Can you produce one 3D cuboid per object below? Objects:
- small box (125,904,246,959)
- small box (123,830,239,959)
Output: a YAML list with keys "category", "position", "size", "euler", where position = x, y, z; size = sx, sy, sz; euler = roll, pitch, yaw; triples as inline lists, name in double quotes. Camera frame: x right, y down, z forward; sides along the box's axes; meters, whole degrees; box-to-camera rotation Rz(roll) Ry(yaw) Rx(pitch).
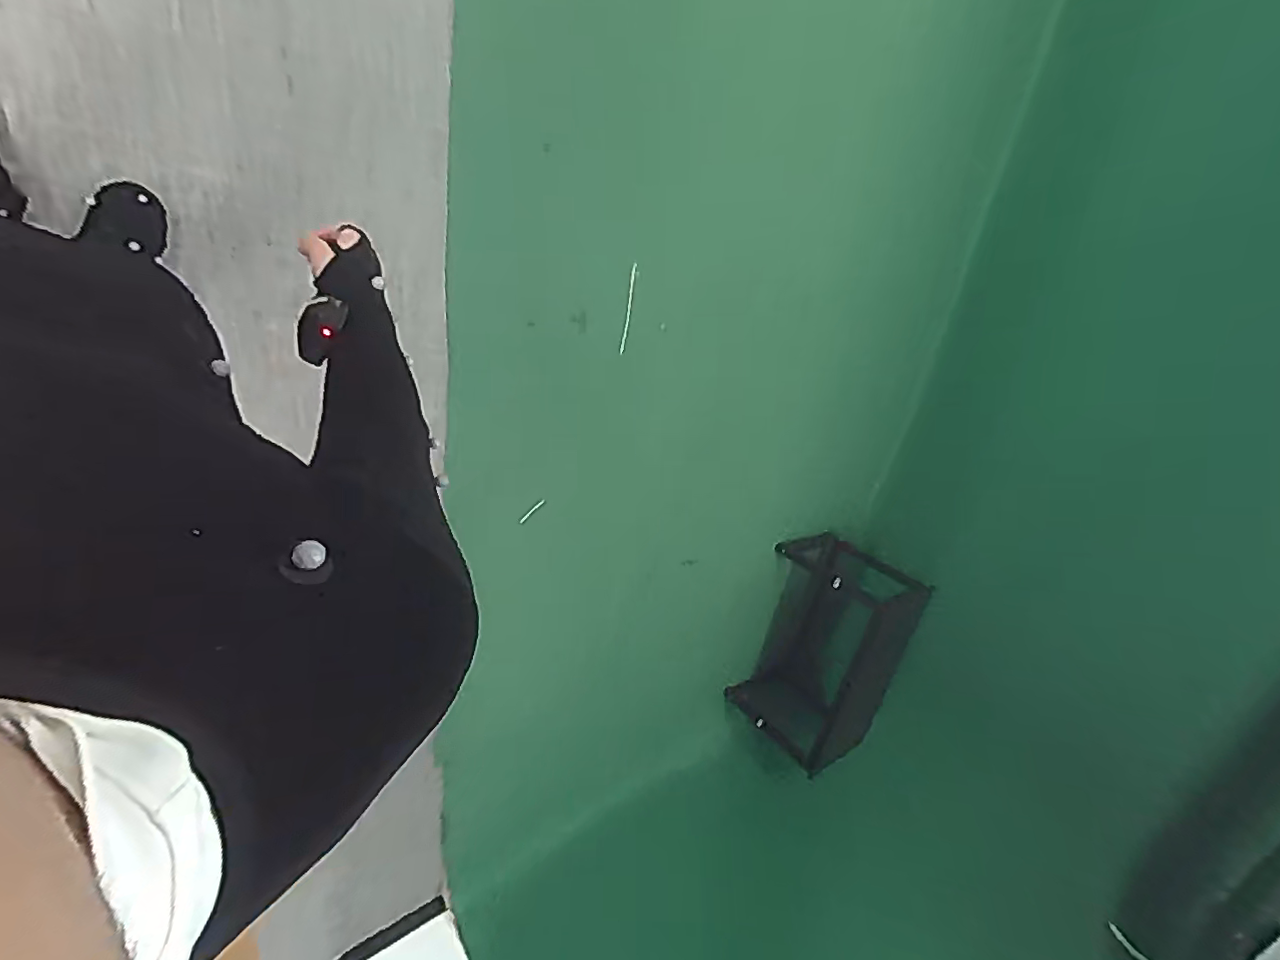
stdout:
- category: "small box"
  position: [-0.815, 0.924, 0.967]
  size: [0.168, 0.176, 0.179]
  euler: [3, 112, -43]
- category: "small box"
  position: [-0.915, 0.854, 1.078]
  size: [0.168, 0.176, 0.179]
  euler: [2, 112, -42]
